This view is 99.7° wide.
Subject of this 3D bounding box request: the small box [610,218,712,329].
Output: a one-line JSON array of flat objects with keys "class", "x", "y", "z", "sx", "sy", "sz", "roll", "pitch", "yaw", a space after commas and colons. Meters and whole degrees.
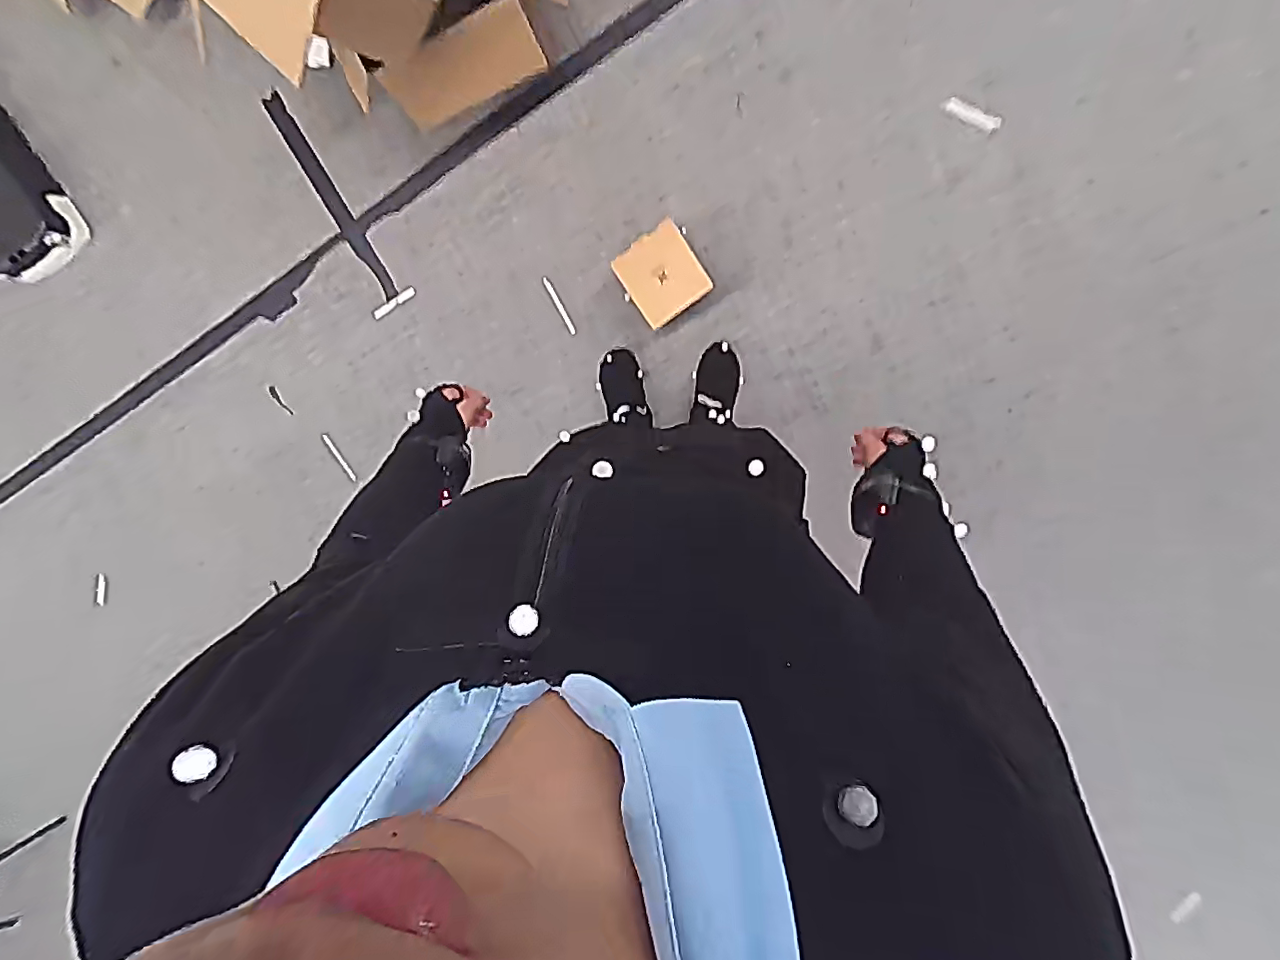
[{"class": "small box", "x": 0.054, "y": -0.480, "z": 1.265, "sx": 0.168, "sy": 0.176, "sz": 0.179, "roll": -33, "pitch": 103, "yaw": 15}]
